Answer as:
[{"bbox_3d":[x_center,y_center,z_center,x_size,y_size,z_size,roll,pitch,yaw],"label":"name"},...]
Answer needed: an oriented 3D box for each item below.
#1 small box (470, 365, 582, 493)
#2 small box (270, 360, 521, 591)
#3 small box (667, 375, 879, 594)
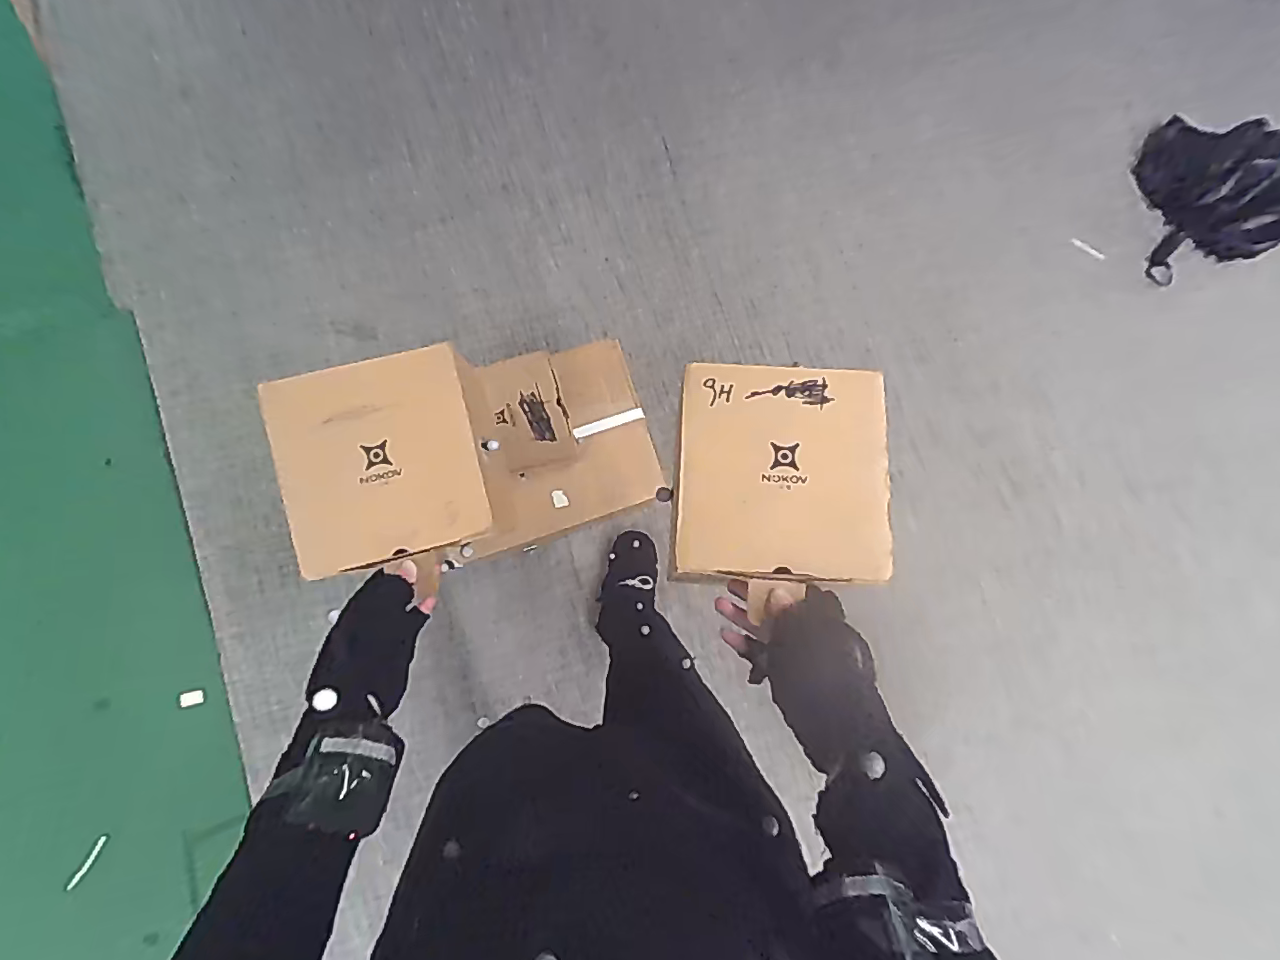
[{"bbox_3d":[-0.202,-0.070,0.887,0.179,0.176,0.168,-20,90,-5],"label":"small box"},{"bbox_3d":[-0.231,-0.002,0.557,0.168,0.176,0.179,-15,87,-5],"label":"small box"},{"bbox_3d":[0.112,0.016,0.515,0.168,0.176,0.179,2,77,3],"label":"small box"}]
